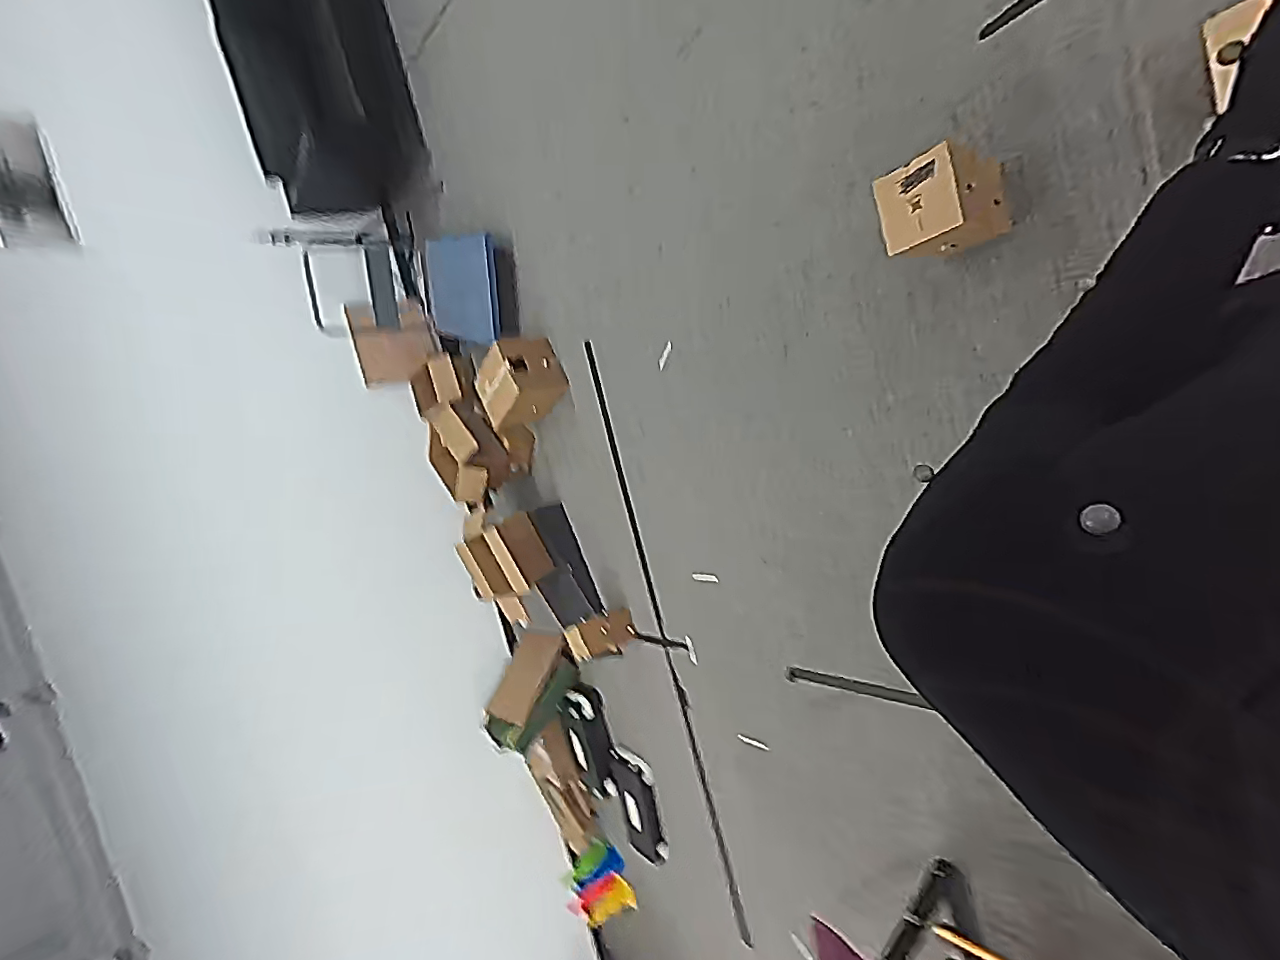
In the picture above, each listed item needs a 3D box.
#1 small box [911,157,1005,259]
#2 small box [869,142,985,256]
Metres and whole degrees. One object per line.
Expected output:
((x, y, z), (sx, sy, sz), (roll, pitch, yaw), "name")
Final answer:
((0.776, -0.667, 1.339), (0.179, 0.176, 0.168), (-11, 96, 52), "small box")
((0.656, -0.629, 1.233), (0.168, 0.176, 0.179), (-10, 97, 52), "small box")
